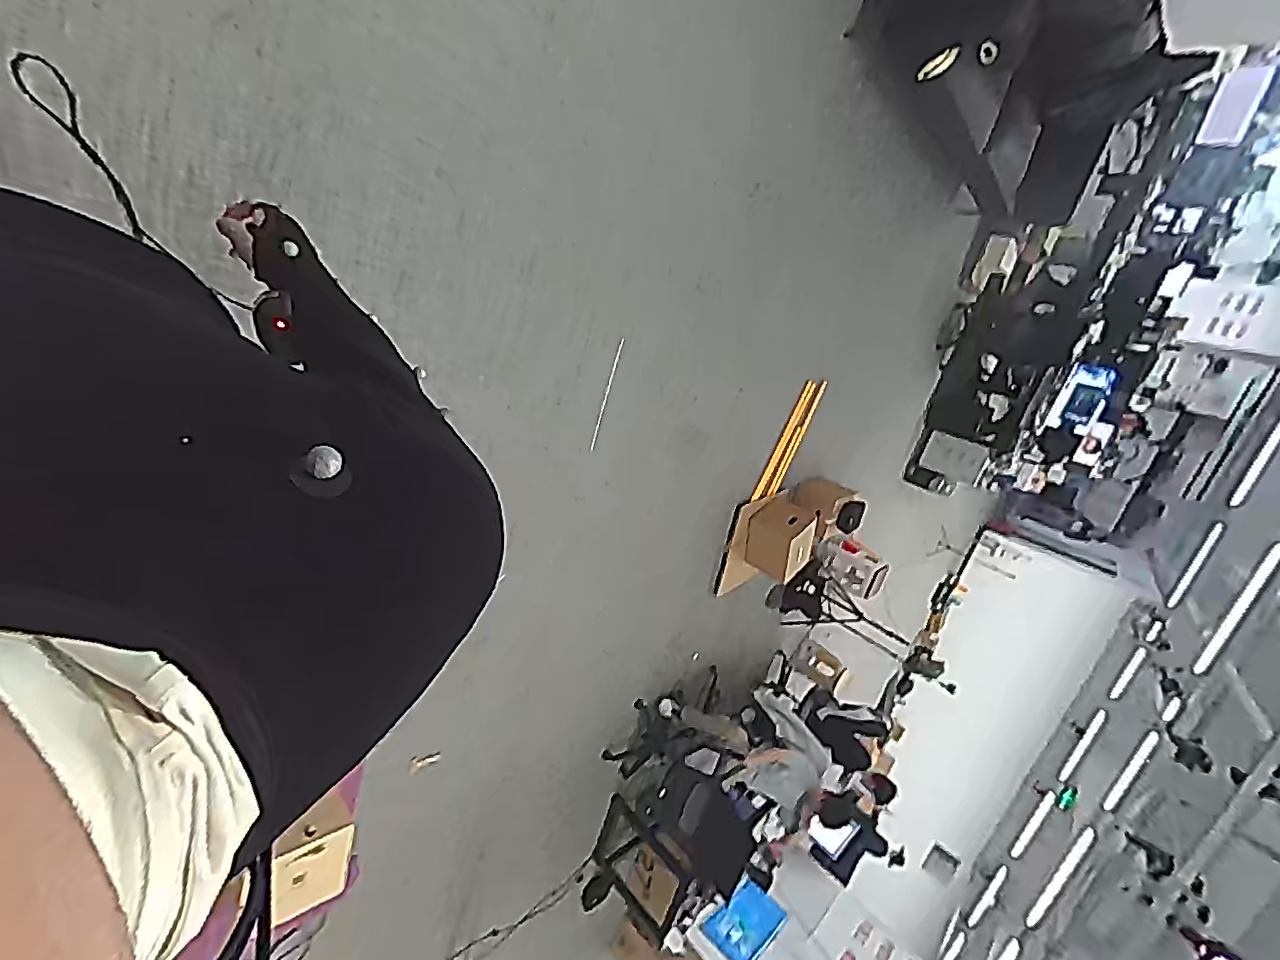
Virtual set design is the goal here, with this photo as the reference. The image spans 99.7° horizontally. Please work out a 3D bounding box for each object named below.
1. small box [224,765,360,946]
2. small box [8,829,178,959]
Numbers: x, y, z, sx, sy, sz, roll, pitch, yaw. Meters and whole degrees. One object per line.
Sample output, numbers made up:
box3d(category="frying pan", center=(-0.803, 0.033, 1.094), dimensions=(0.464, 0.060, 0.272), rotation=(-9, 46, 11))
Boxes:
box3d(category="small box", center=(-0.641, 0.672, 0.991), dimensions=(0.168, 0.176, 0.179), rotation=(-2, 115, -49))
box3d(category="small box", center=(-0.811, 0.678, 0.805), dimensions=(0.168, 0.176, 0.179), rotation=(-2, 114, -48))
